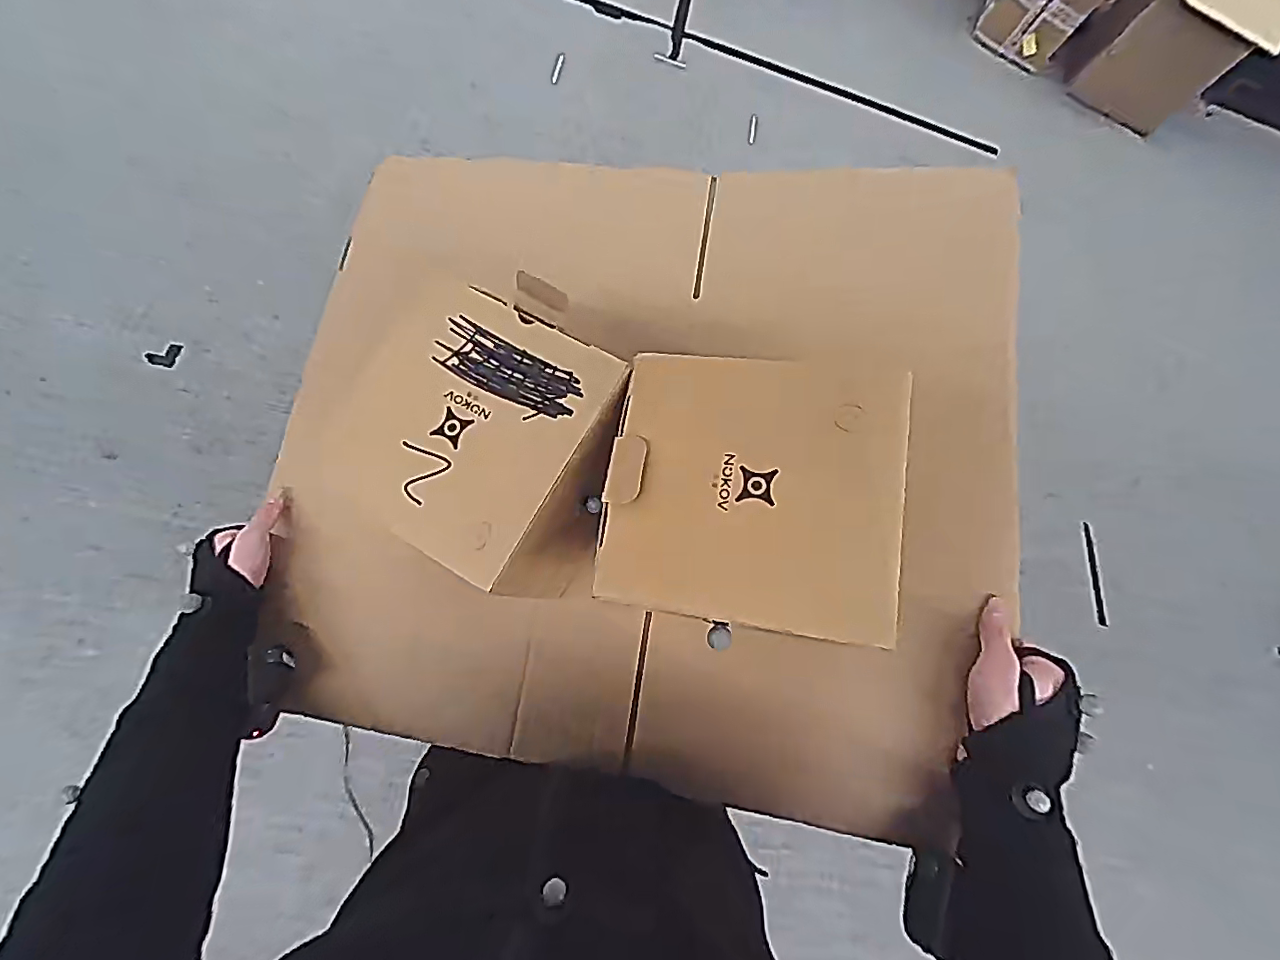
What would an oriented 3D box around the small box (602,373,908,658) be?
[{"bbox_3d":[0.089,0.033,0.418,0.179,0.176,0.168,6,76,15],"label":"small box"}]
